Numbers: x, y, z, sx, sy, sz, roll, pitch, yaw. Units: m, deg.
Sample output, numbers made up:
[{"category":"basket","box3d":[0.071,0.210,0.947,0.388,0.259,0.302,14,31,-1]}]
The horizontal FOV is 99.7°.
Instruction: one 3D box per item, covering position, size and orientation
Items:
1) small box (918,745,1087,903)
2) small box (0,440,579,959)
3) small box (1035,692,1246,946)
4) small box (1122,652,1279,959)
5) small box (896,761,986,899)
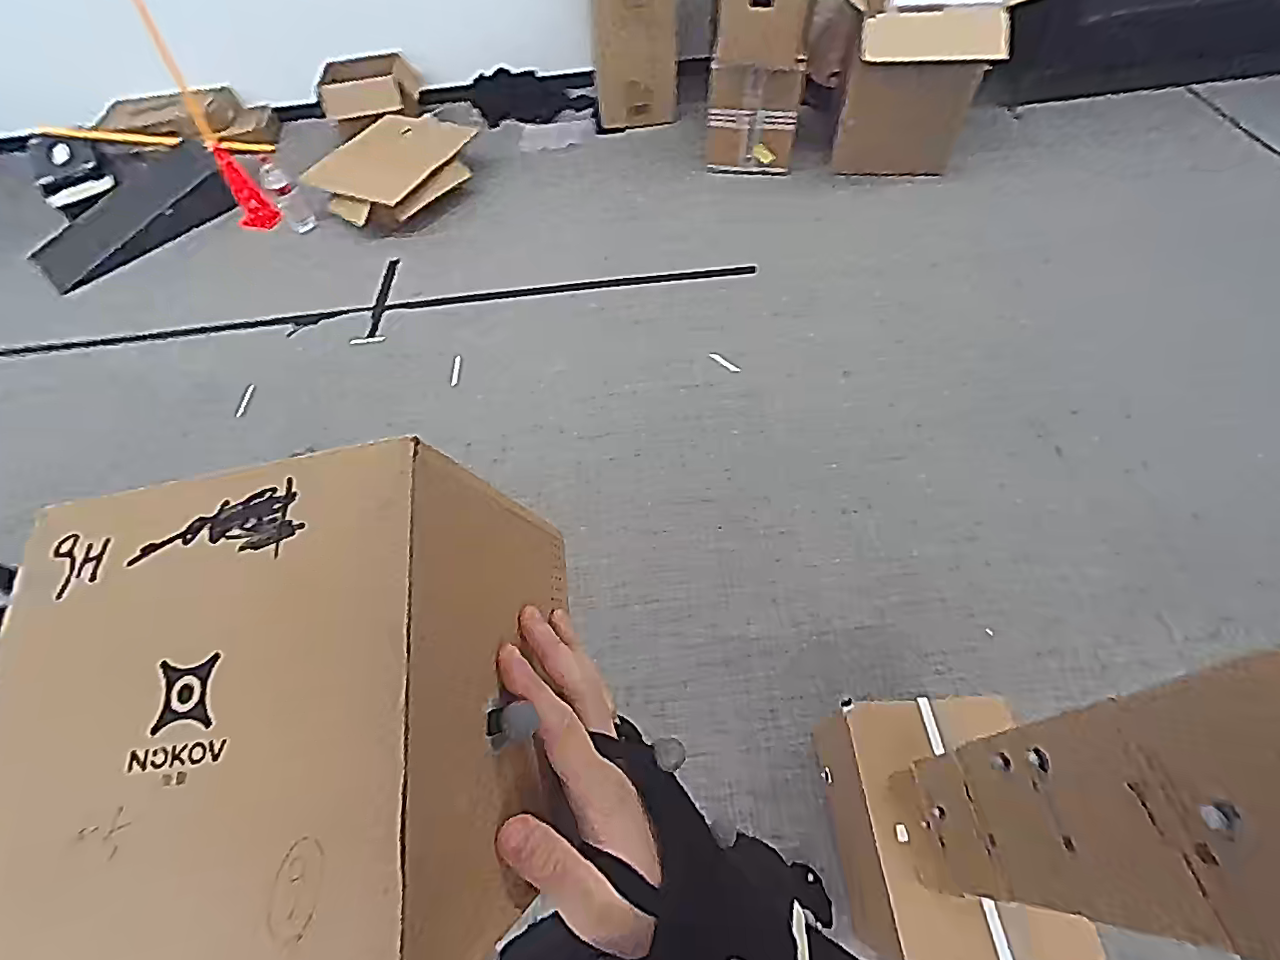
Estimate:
[{"category":"small box","box3d":[0.520,0.464,0.741,0.179,0.176,0.168,-7,56,3]},{"category":"small box","box3d":[-0.134,0.102,0.255,0.168,0.176,0.179,-10,72,7]},{"category":"small box","box3d":[0.488,0.285,0.468,0.179,0.176,0.168,-4,57,3]},{"category":"small box","box3d":[0.471,0.195,0.331,0.179,0.176,0.168,-7,56,2]},{"category":"small box","box3d":[0.541,0.555,0.874,0.168,0.176,0.179,-7,57,2]}]
